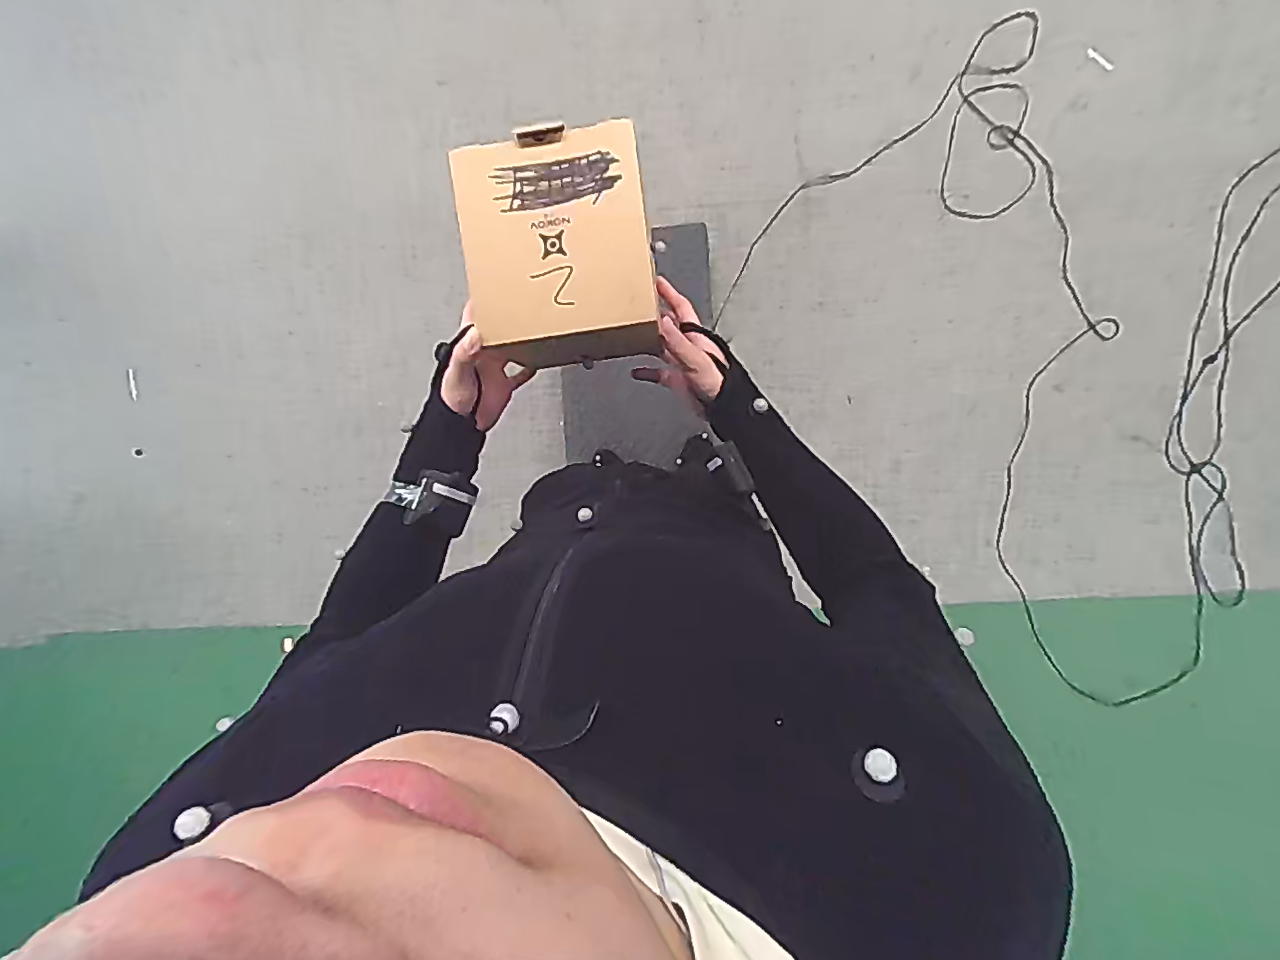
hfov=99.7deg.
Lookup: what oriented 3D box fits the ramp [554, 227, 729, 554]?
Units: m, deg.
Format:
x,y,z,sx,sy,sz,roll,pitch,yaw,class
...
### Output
x,y,z,sx,sy,sz,roll,pitch,yaw,class
-0.006,-0.281,1.681,0.509,0.206,0.991,-5,96,4,ramp
